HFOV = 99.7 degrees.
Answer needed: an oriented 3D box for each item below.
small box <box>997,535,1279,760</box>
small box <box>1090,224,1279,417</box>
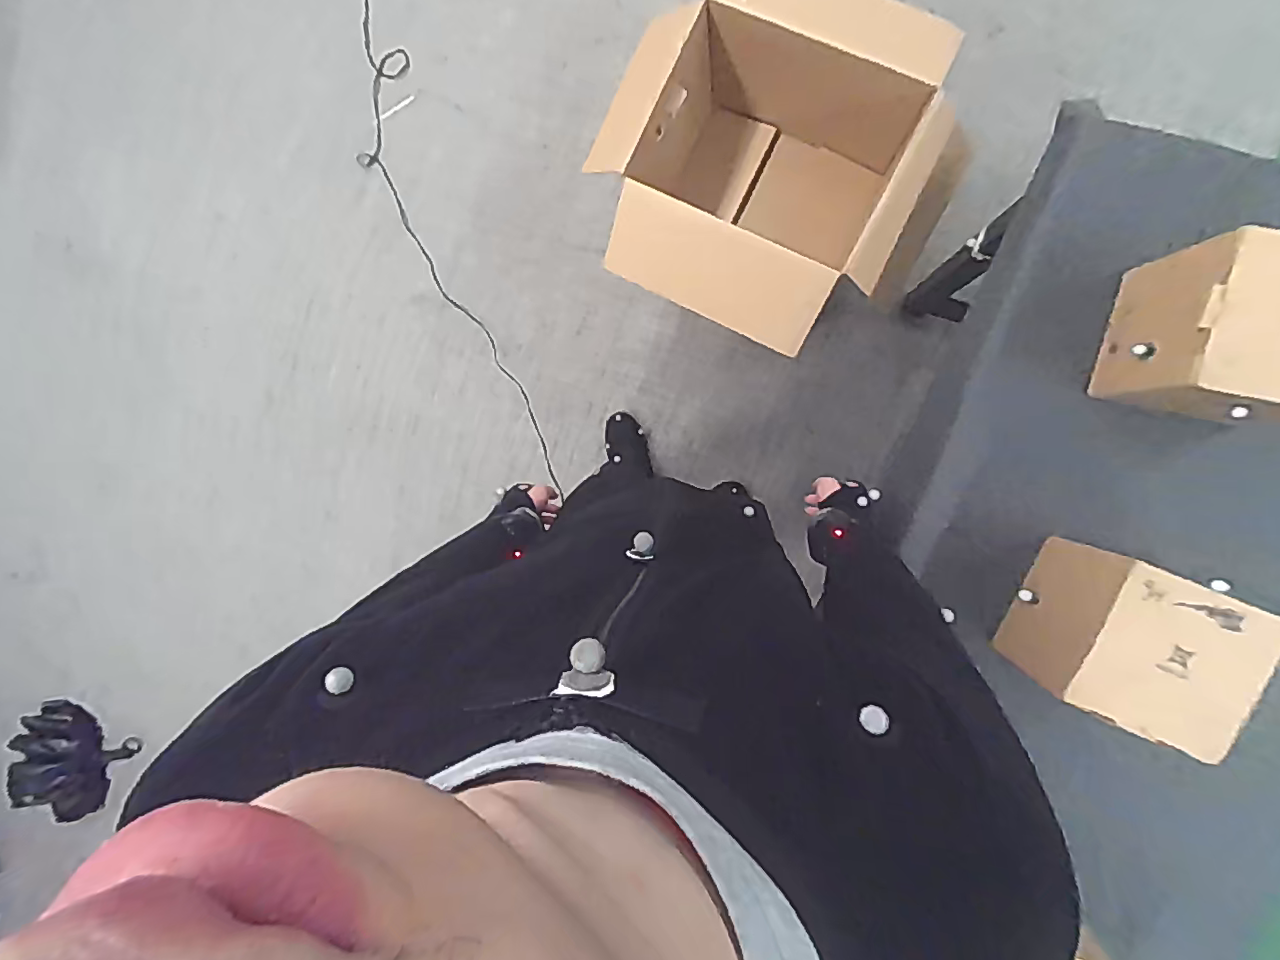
[{"bbox_3d":[0.581,0.187,0.661,0.168,0.176,0.179,24,98,7],"label":"small box"},{"bbox_3d":[0.679,-0.167,0.620,0.179,0.176,0.168,13,98,6],"label":"small box"}]
